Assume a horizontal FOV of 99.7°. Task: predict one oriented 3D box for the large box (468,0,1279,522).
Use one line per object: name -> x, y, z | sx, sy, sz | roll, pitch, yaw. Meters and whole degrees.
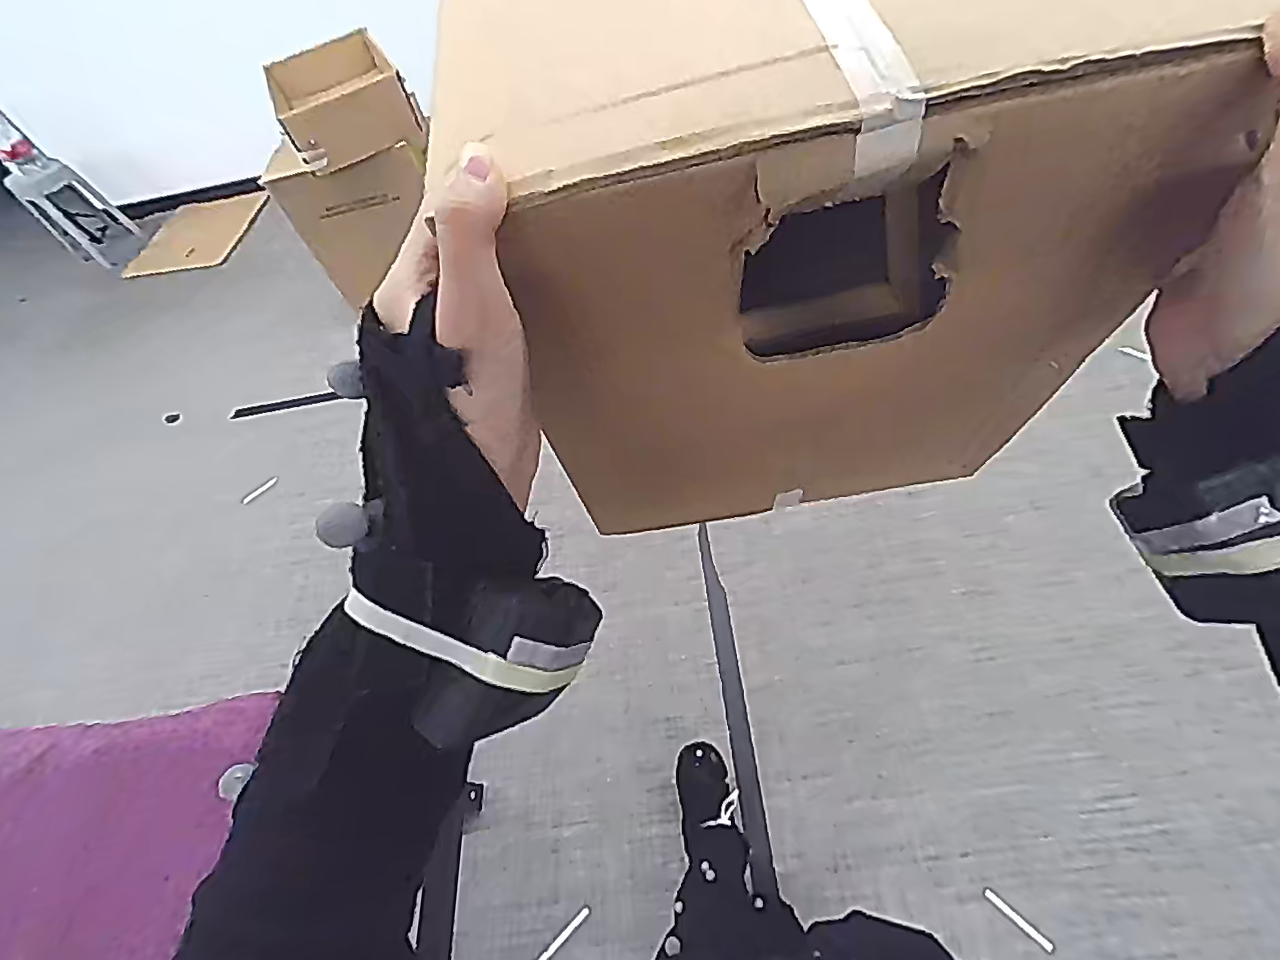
large box -> 0.079, -0.226, 0.406 | 0.320, 0.320, 0.408 | -11, 63, 4
